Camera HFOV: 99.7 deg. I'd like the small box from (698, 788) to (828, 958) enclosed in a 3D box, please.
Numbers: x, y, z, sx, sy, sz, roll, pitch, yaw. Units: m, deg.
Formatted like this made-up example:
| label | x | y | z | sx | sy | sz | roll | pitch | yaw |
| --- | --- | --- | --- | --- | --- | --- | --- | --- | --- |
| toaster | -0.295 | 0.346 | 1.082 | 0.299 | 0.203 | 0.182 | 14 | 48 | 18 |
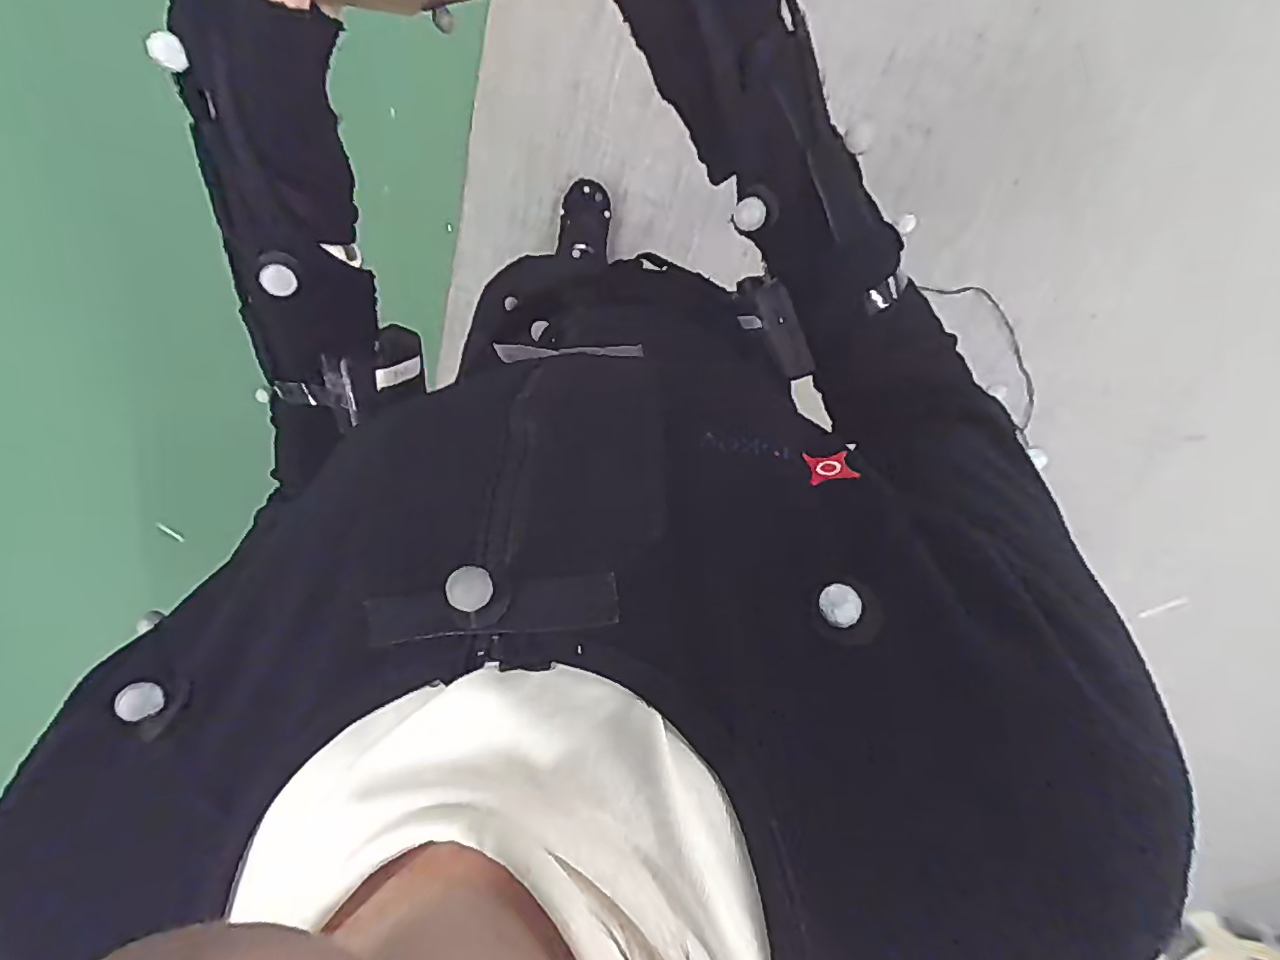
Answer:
| label | x | y | z | sx | sy | sz | roll | pitch | yaw |
| --- | --- | --- | --- | --- | --- | --- | --- | --- | --- |
| small box | 0.194 | 0.661 | 0.916 | 0.168 | 0.176 | 0.179 | 7 | 117 | -3 |
